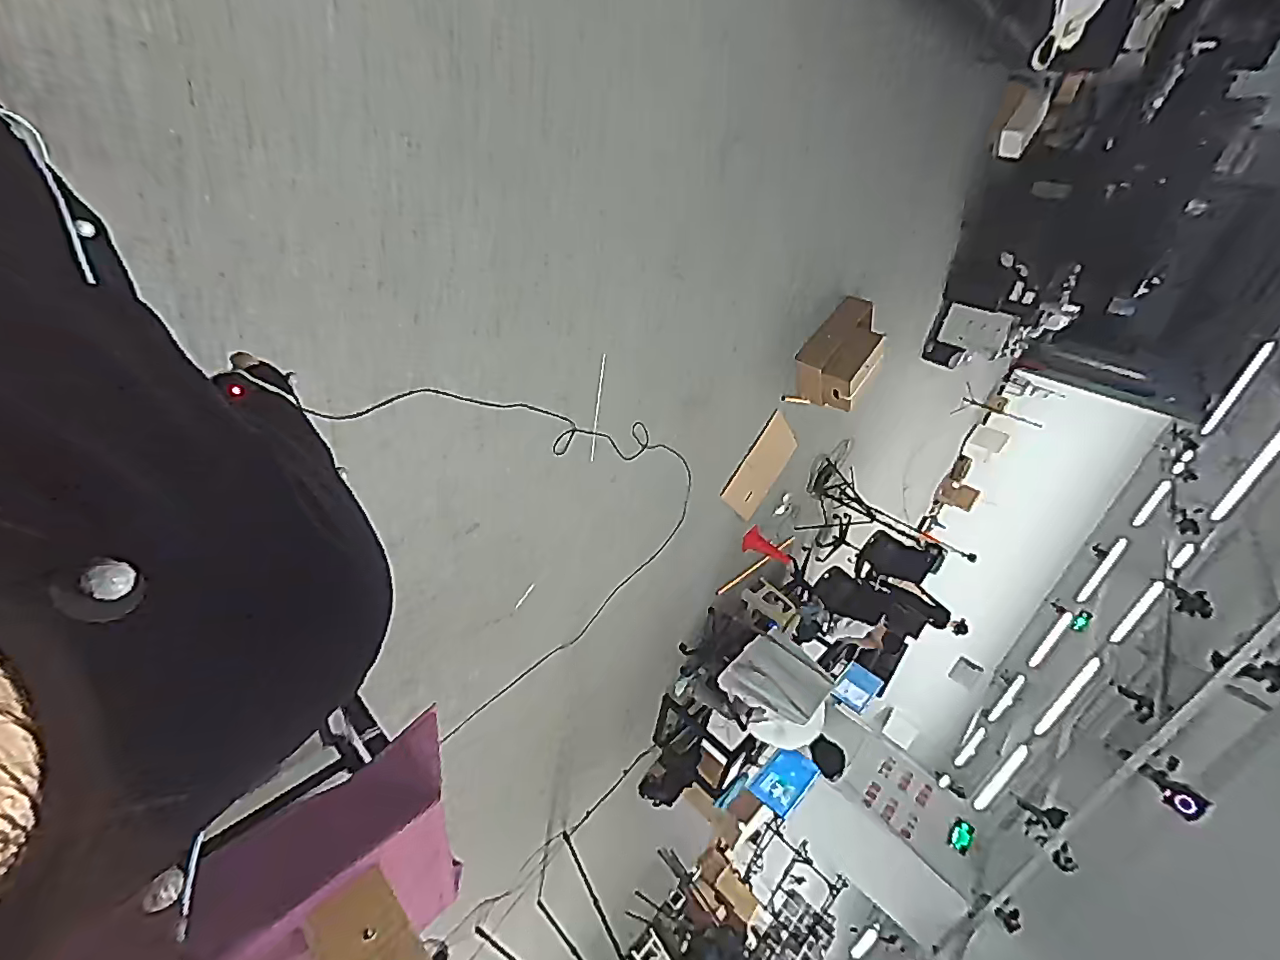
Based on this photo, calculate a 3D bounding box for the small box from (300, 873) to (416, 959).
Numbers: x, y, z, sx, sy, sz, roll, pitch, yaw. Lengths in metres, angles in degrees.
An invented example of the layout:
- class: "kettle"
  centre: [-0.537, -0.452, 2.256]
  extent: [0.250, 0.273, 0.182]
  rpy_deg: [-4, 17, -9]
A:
- class: "small box"
  centre: [-0.638, 1.056, 1.232]
  extent: [0.179, 0.176, 0.168]
  rpy_deg: [-23, 133, -41]
